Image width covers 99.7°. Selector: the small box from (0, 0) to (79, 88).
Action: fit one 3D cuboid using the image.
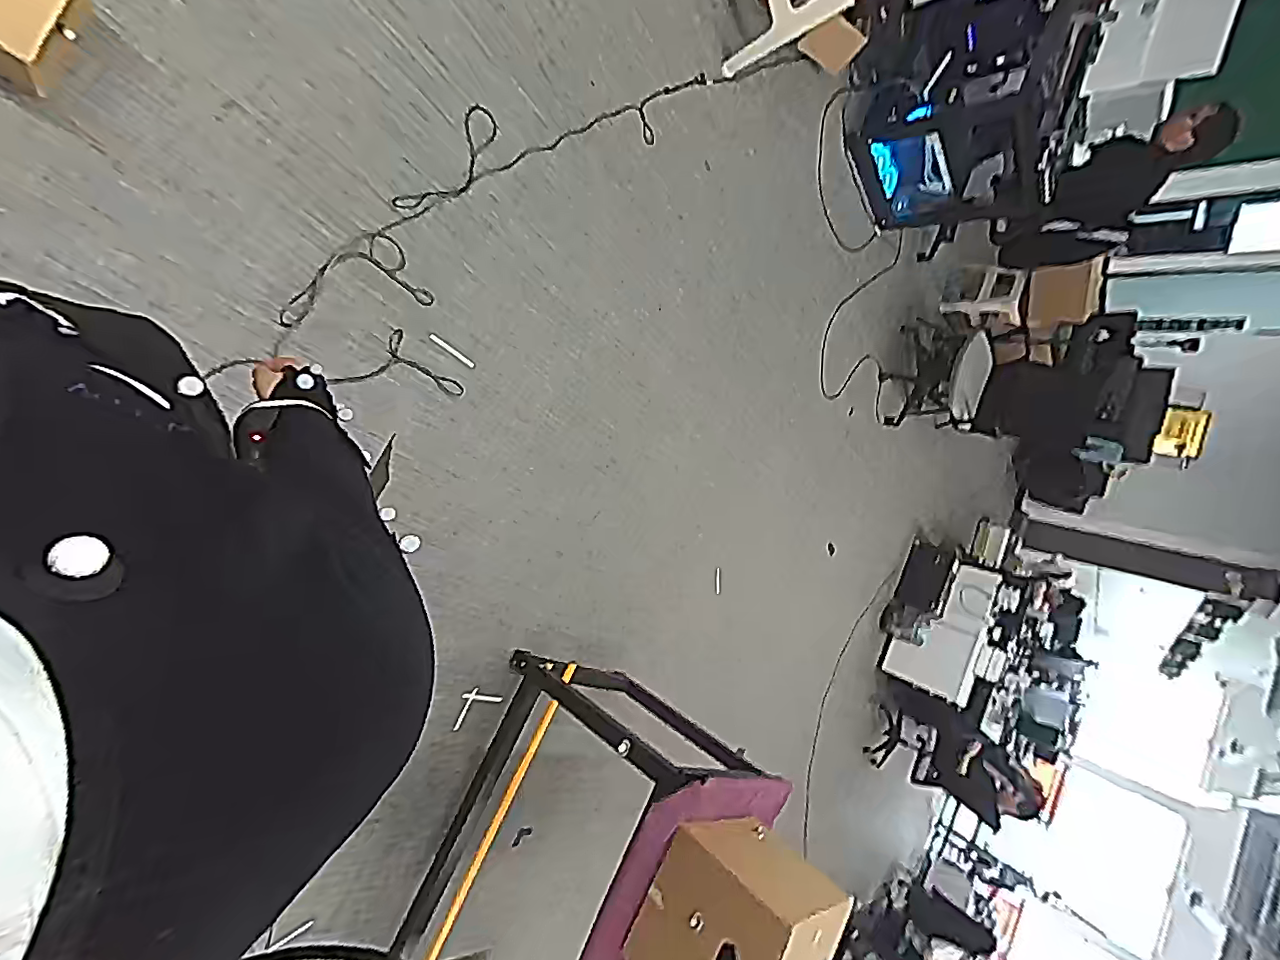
[{"bbox_3d":[-0.923,-0.700,0.749,0.168,0.176,0.179,28,82,-46],"label":"small box"}]
